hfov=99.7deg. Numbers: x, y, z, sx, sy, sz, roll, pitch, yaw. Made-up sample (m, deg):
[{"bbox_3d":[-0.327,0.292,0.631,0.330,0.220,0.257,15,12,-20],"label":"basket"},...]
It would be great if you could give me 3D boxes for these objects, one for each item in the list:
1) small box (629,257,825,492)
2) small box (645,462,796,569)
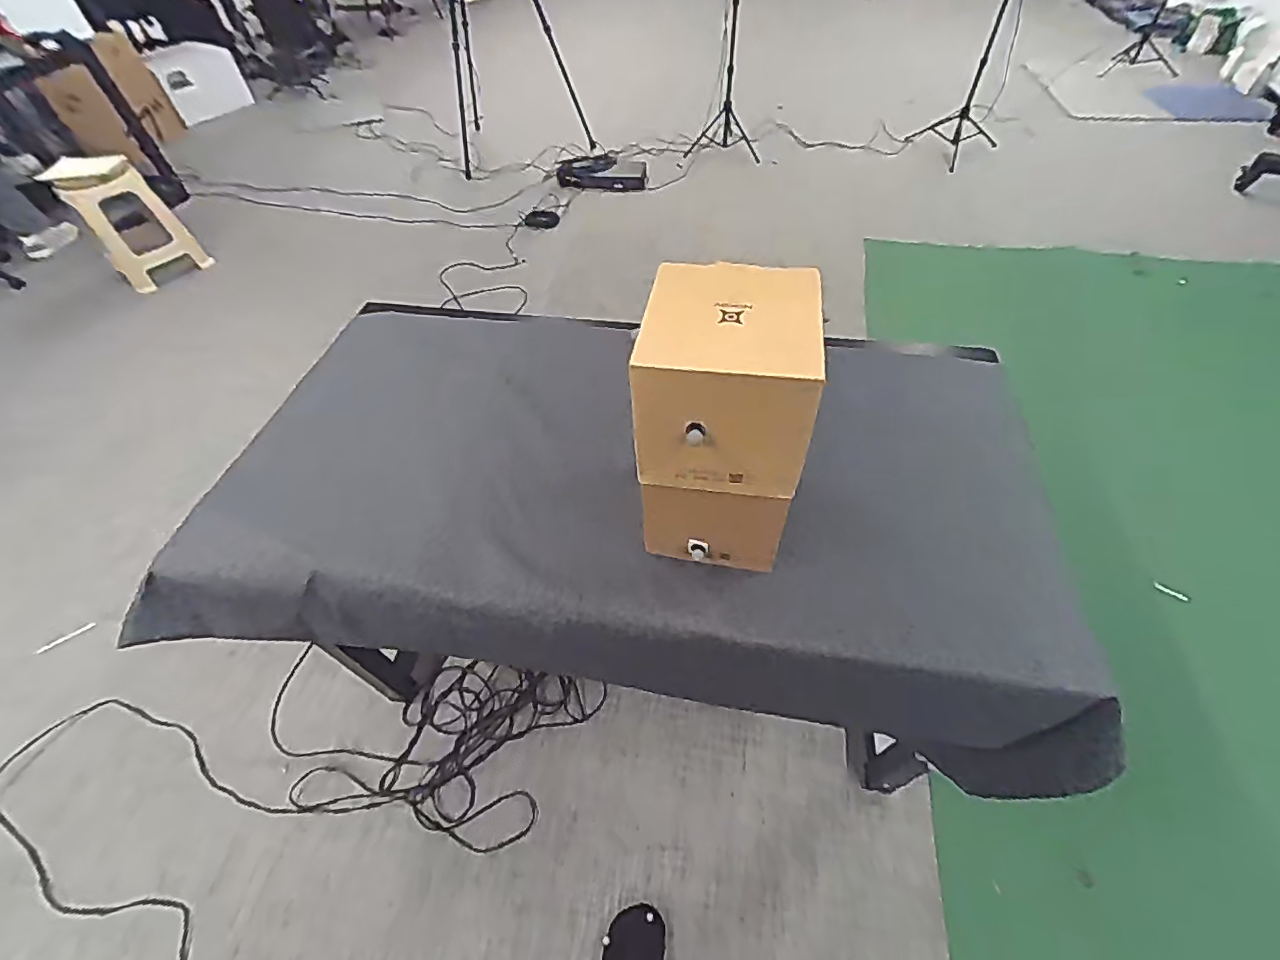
[{"bbox_3d":[0.090,-0.107,0.558,0.168,0.176,0.179,6,51,9],"label":"small box"},{"bbox_3d":[0.104,-0.011,0.690,0.168,0.176,0.179,7,53,10],"label":"small box"}]
